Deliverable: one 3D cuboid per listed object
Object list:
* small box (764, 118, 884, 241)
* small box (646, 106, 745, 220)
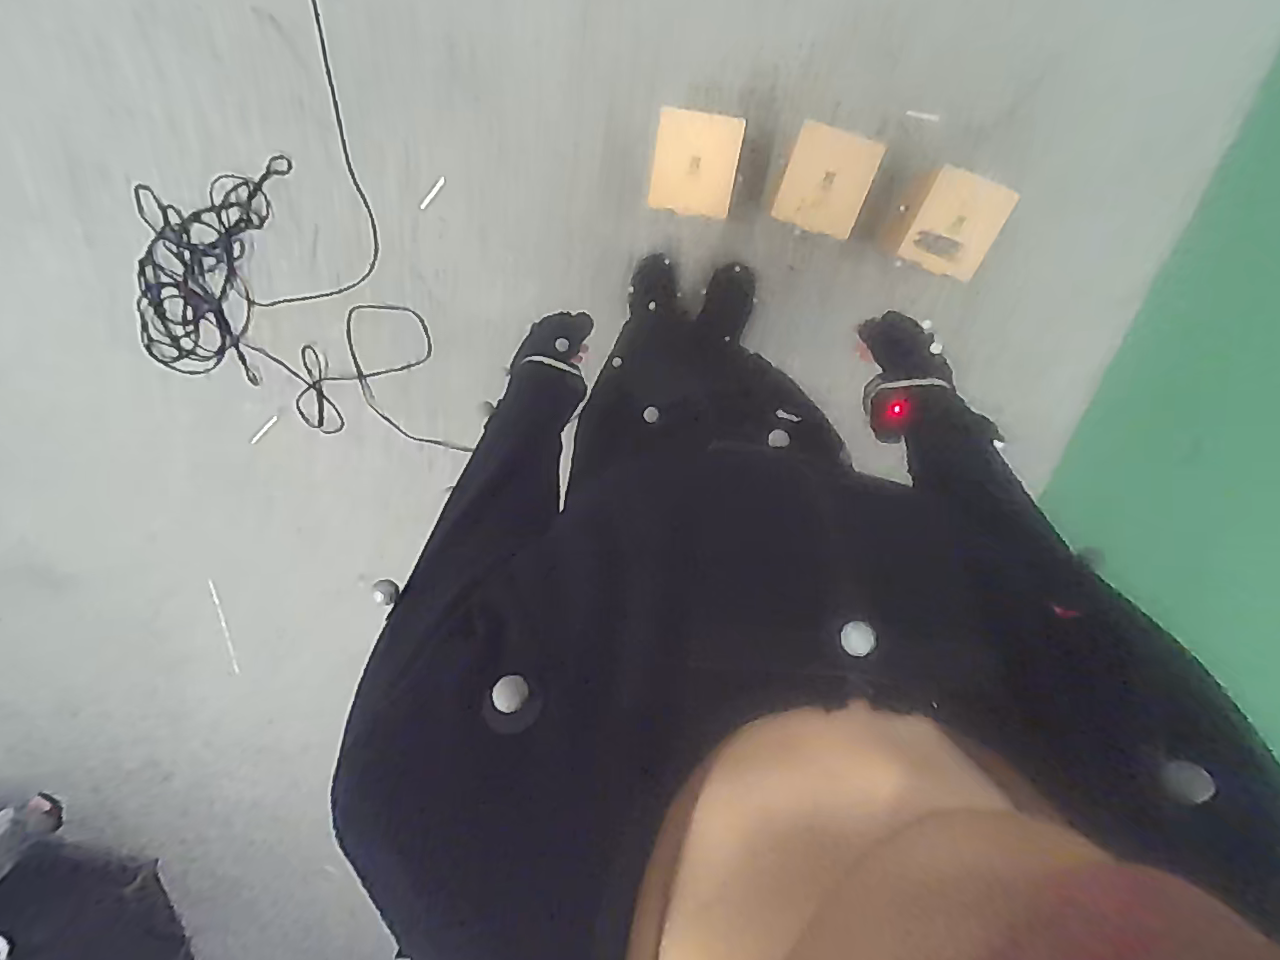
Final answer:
[{"bbox_3d":[0.366,-0.612,1.117,0.168,0.176,0.179,18,117,-1],"label":"small box"},{"bbox_3d":[0.112,-0.652,1.129,0.168,0.176,0.179,11,117,2],"label":"small box"}]
